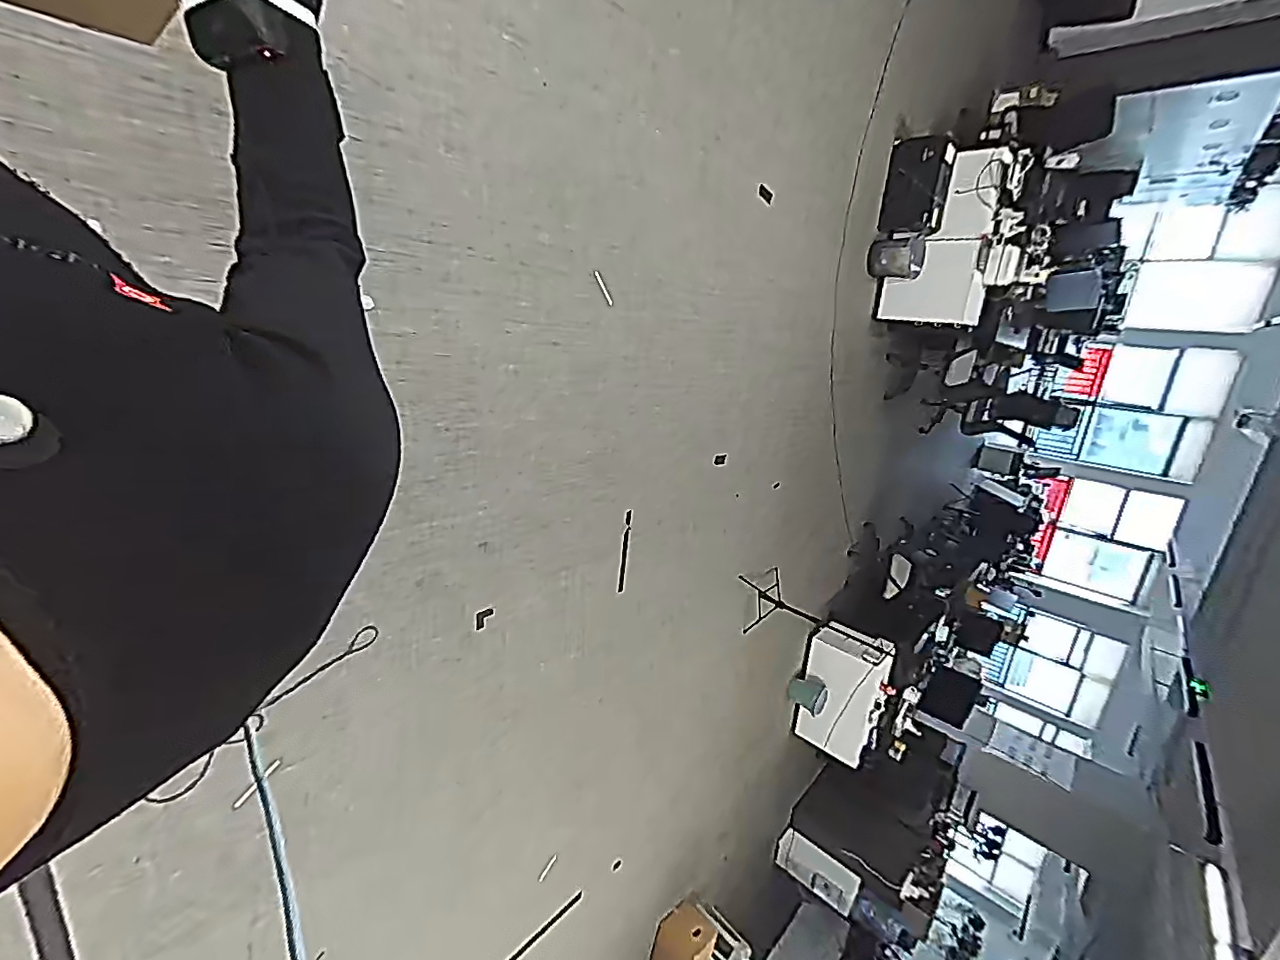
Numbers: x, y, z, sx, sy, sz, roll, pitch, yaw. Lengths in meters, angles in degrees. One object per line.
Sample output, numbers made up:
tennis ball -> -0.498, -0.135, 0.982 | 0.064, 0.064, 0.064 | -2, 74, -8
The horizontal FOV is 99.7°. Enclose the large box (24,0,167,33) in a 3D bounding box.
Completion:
large box -> -0.512, -0.507, 0.263 | 0.408, 0.320, 0.320 | -15, 119, -46
